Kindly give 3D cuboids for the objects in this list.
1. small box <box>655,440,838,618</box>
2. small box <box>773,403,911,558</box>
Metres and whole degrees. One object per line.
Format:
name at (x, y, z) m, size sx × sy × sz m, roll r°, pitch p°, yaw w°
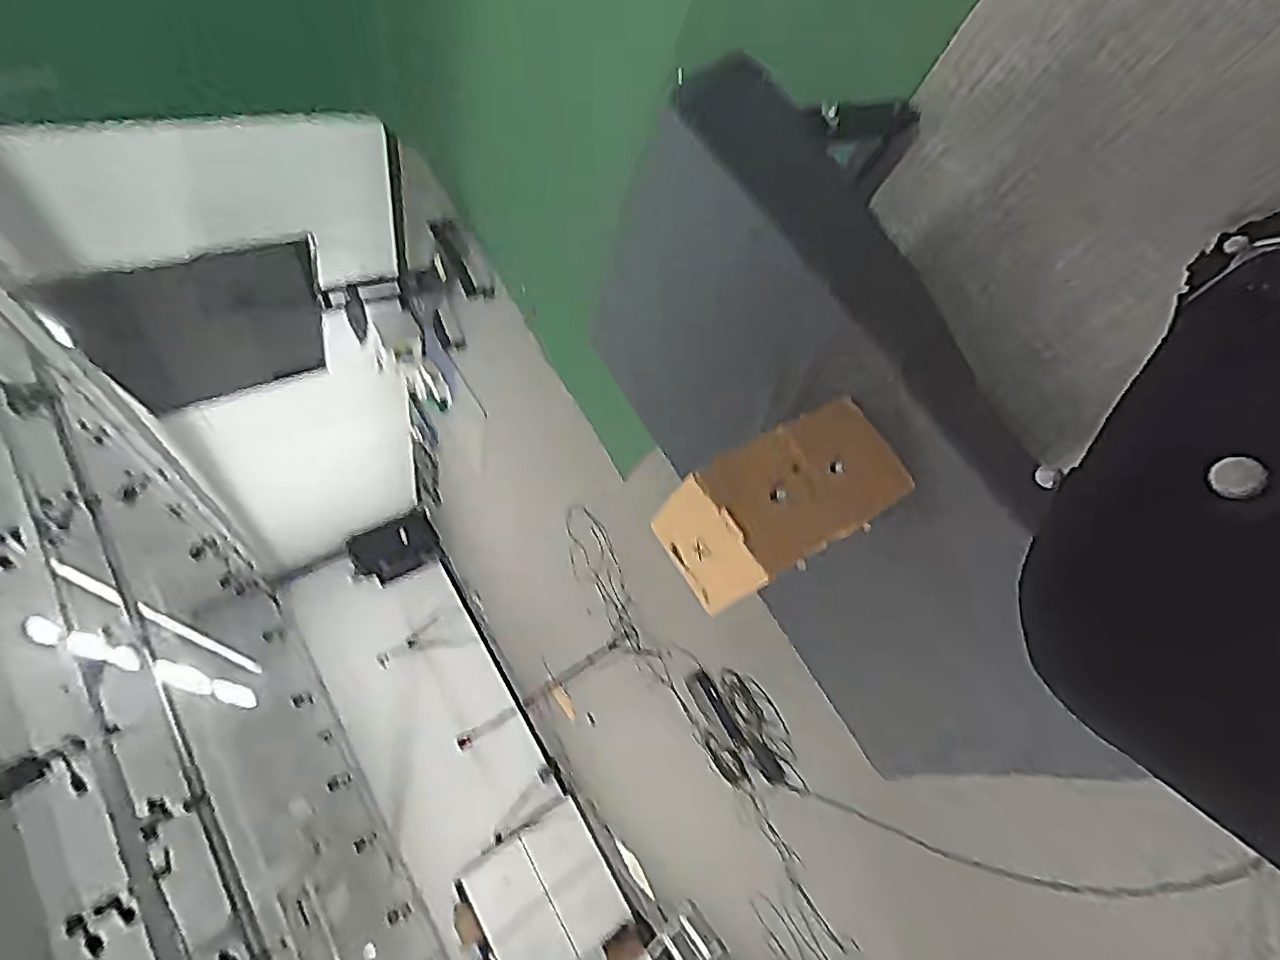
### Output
small box at (0.156, 0.068, 0.784) m, size 0.168 × 0.176 × 0.179 m, roll 55°, pitch 149°, yaw 14°
small box at (0.286, 0.006, 0.860) m, size 0.179 × 0.176 × 0.168 m, roll 58°, pitch 149°, yaw 13°
